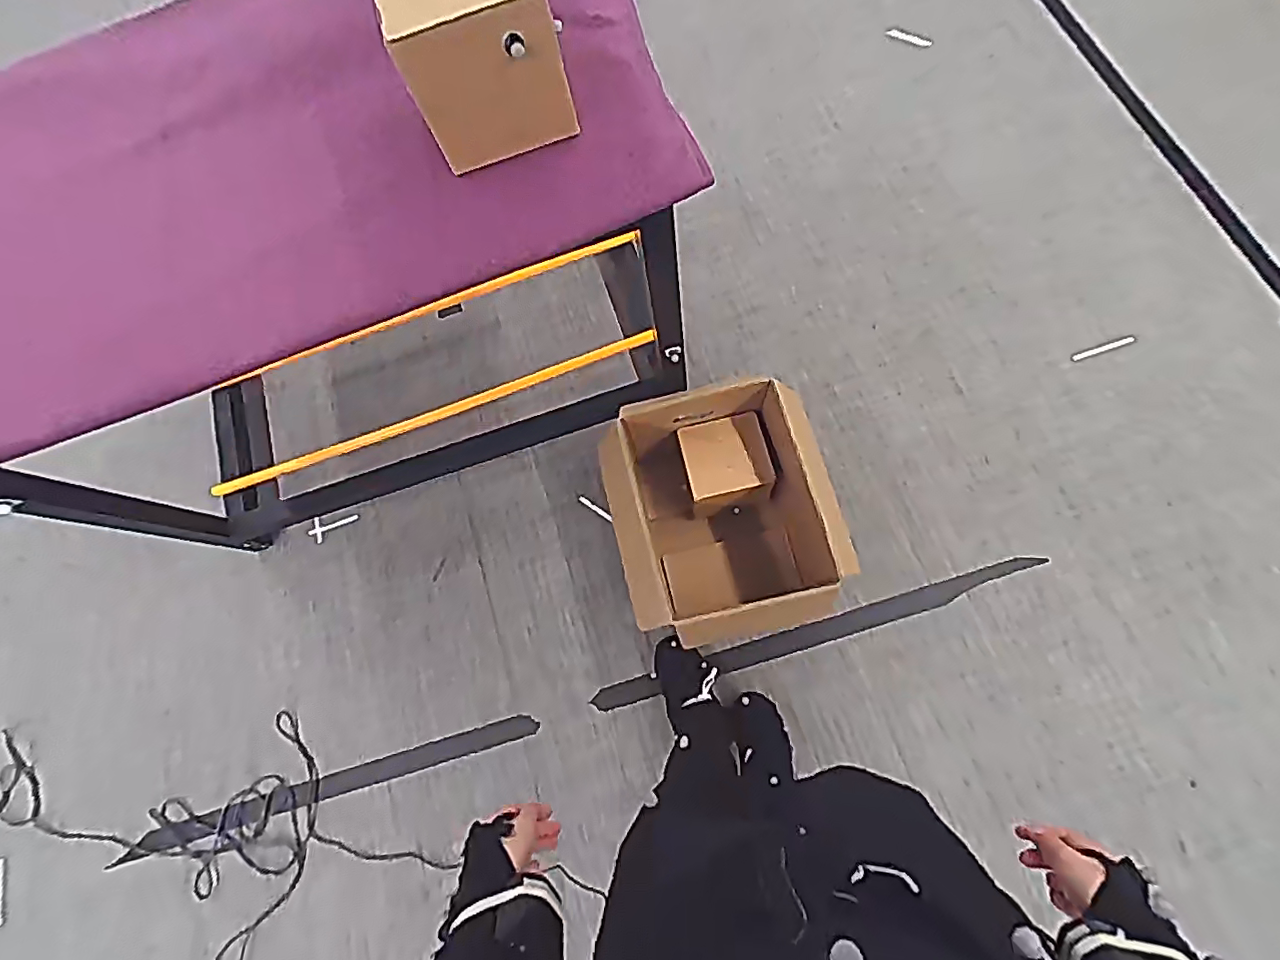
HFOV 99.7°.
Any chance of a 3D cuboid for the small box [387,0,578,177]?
[{"bbox_3d":[-0.183,-0.516,0.661,0.179,0.176,0.168,-18,71,1],"label":"small box"}]
